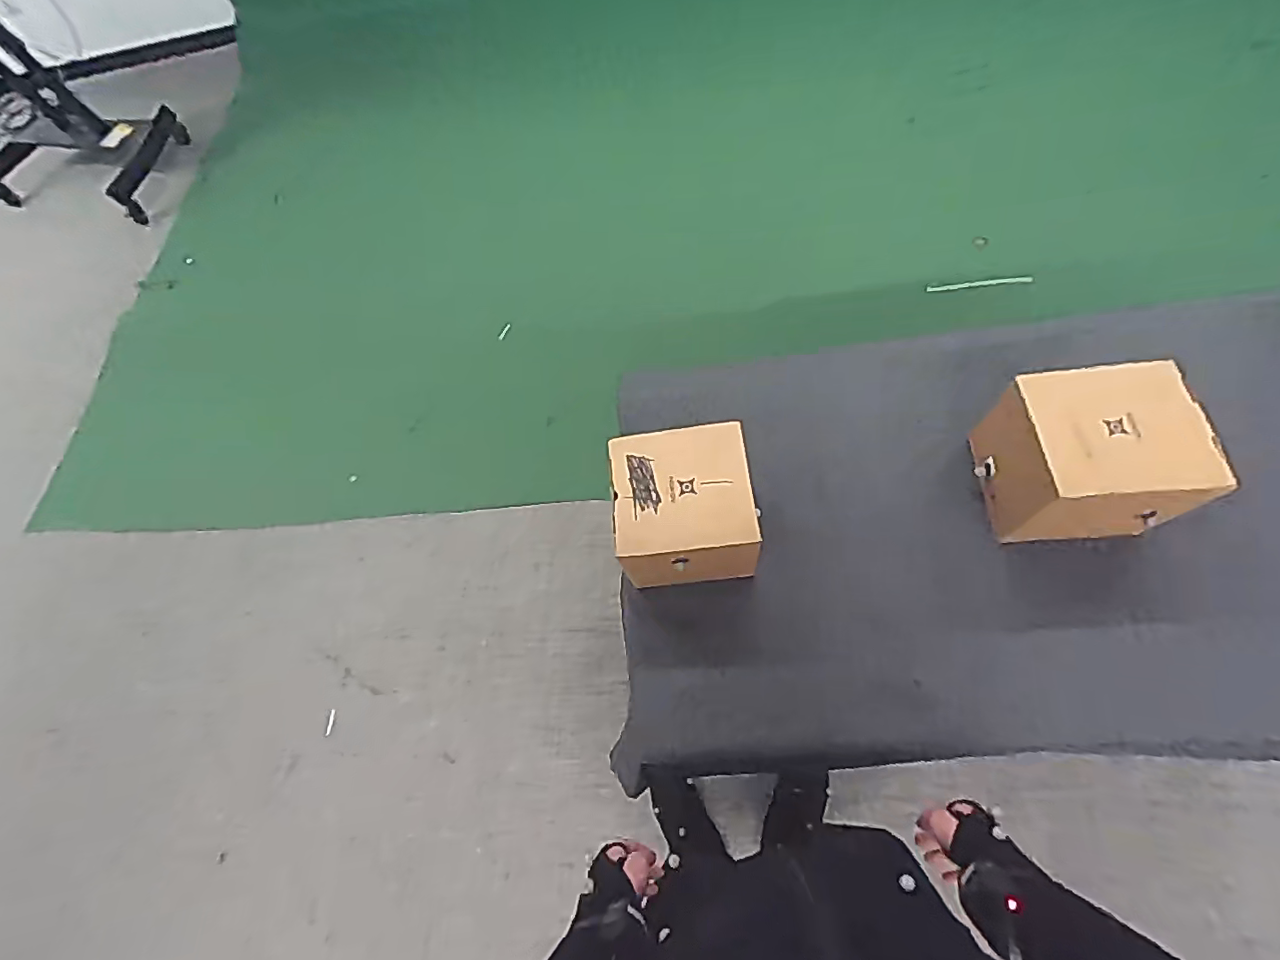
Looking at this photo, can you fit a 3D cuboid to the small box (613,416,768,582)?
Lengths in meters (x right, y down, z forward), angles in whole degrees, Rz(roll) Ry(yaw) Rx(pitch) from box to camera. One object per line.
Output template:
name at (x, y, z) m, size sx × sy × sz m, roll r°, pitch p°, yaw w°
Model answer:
small box at (0.065, 0.034, 0.729) m, size 0.179 × 0.176 × 0.168 m, roll -6°, pitch 65°, yaw 3°

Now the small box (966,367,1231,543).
small box at (0.564, -0.024, 0.699) m, size 0.179 × 0.176 × 0.168 m, roll -5°, pitch 64°, yaw 6°
